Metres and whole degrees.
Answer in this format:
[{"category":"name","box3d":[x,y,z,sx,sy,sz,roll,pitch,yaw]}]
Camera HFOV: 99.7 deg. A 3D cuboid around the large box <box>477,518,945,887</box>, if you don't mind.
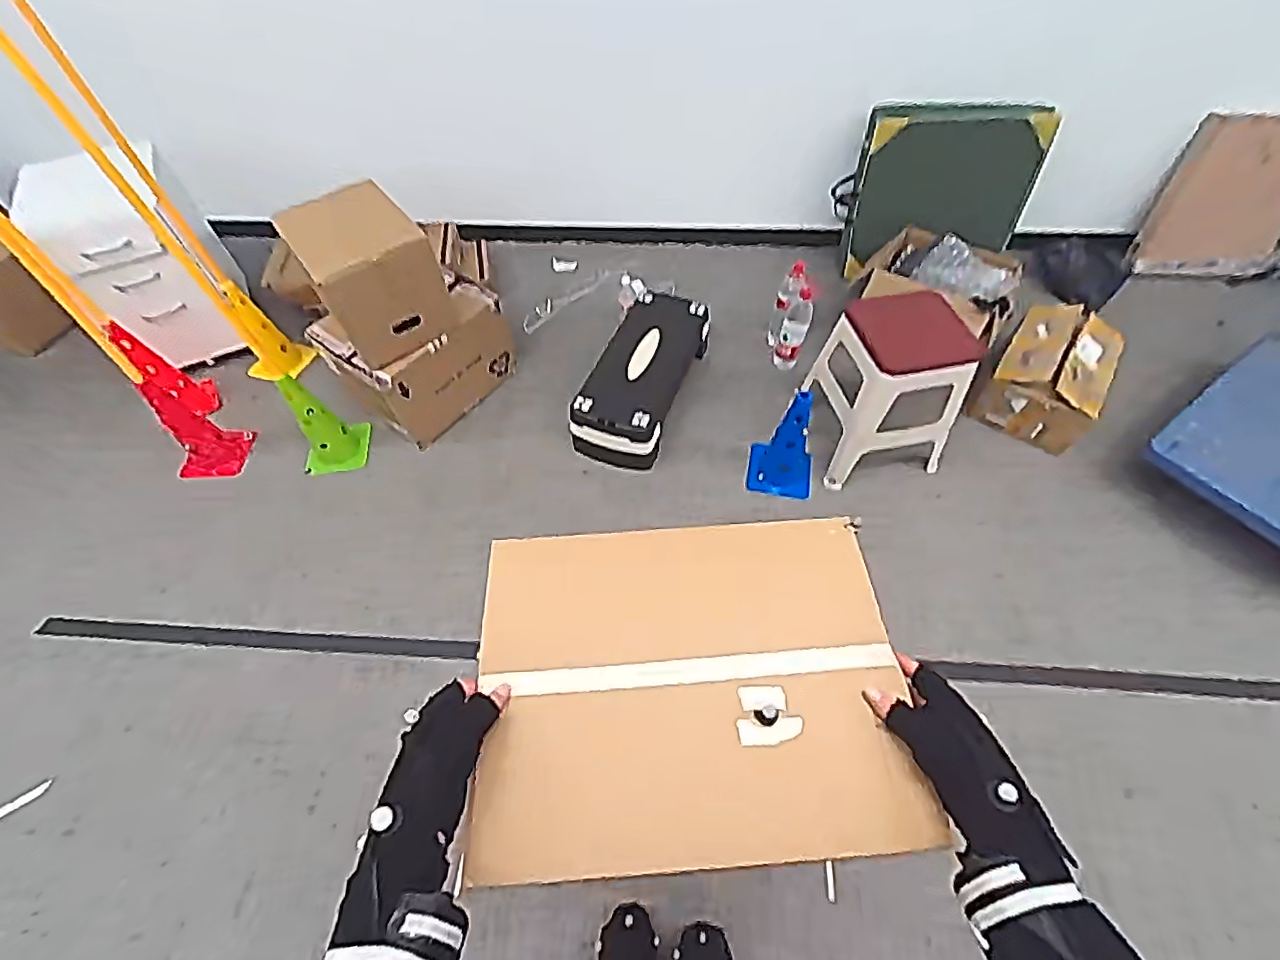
[{"category":"large box","box3d":[0.049,0.268,0.651,0.408,0.320,0.320,-4,57,-2]}]
